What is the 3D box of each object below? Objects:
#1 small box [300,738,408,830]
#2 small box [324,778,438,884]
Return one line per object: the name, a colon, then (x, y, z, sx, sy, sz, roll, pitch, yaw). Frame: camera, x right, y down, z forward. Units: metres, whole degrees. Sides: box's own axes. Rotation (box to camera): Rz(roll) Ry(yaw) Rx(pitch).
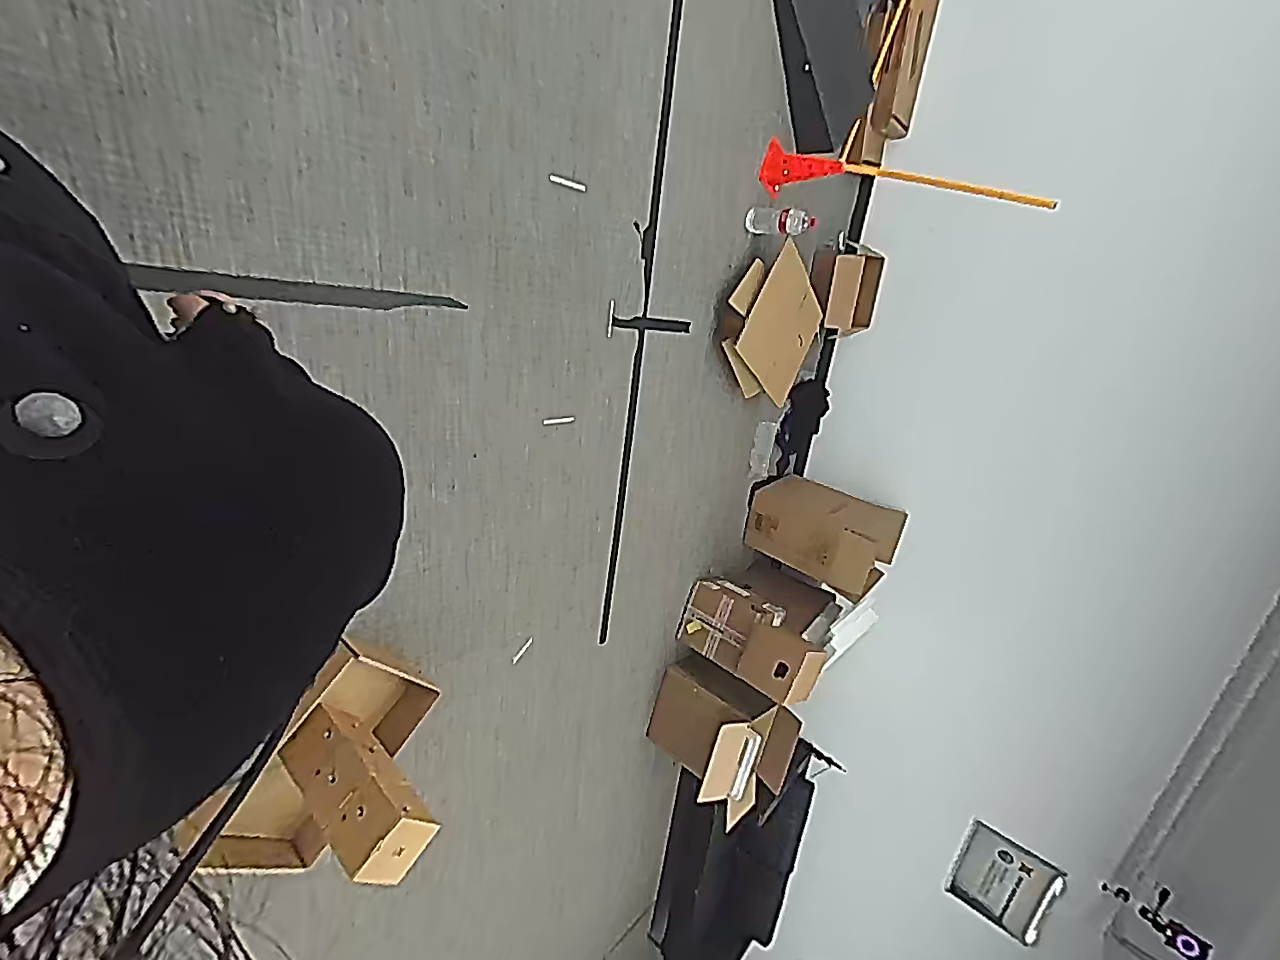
small box: (-0.801, 0.856, 1.511, 0.168, 0.176, 0.179, -51, 141, -21)
small box: (-0.680, 0.918, 1.422, 0.168, 0.176, 0.179, -51, 142, -20)
